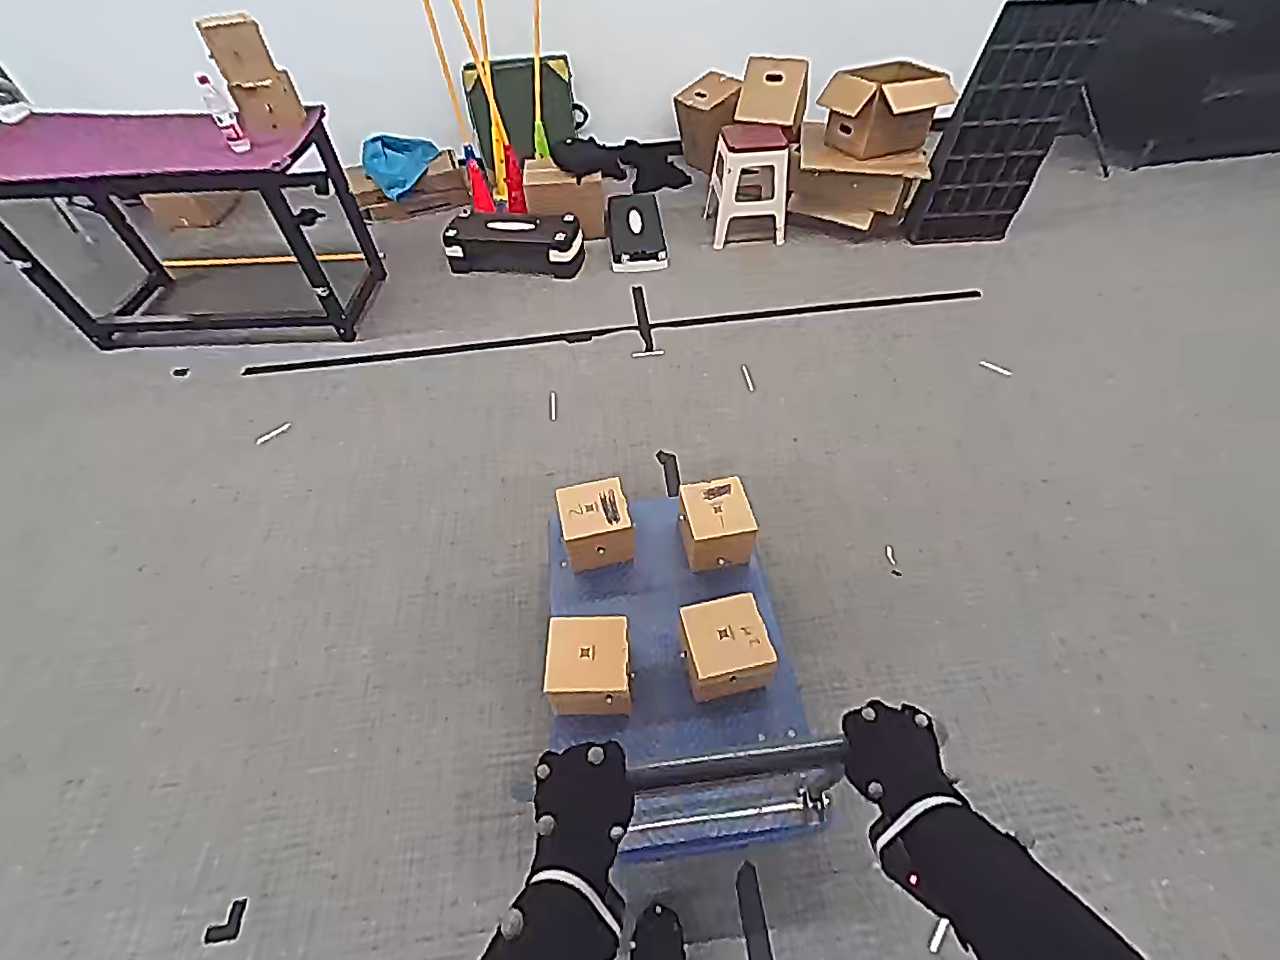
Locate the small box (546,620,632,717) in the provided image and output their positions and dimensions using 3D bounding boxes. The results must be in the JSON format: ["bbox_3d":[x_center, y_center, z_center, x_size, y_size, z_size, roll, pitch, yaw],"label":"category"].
[{"bbox_3d":[-0.108,0.431,1.228,0.179,0.176,0.168,-1,51,-1],"label":"small box"}]

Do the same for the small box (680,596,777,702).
[{"bbox_3d":[0.195,0.394,1.246,0.179,0.176,0.168,-11,52,-6],"label":"small box"}]

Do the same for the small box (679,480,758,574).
[{"bbox_3d":[0.203,0.128,1.455,0.168,0.176,0.179,-10,53,-5],"label":"small box"}]
